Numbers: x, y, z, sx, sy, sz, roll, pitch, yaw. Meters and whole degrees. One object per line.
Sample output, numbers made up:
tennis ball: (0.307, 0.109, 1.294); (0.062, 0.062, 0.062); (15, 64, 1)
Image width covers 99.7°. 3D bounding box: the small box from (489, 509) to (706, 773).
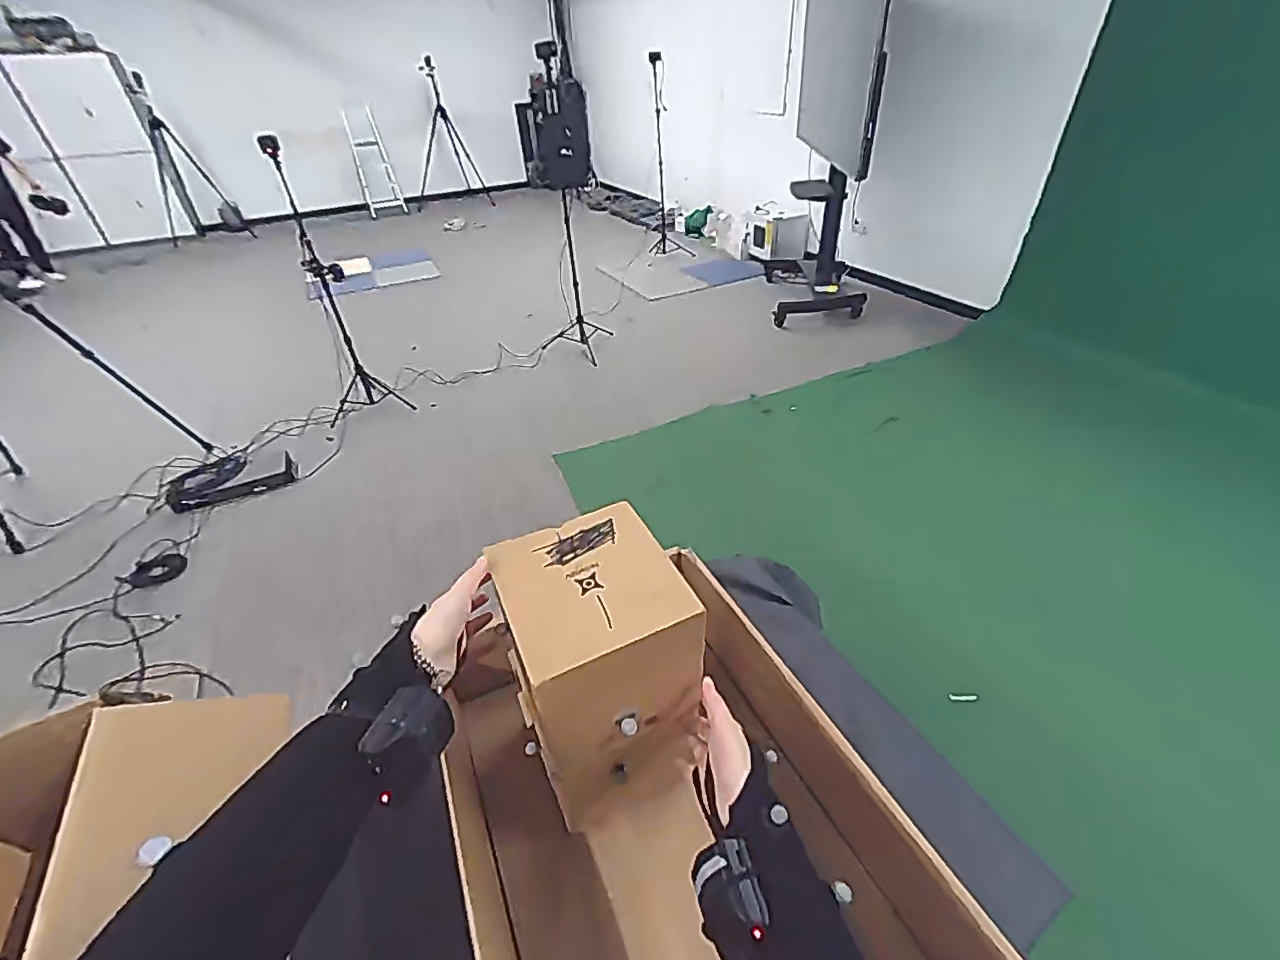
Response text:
small box: (-0.047, 0.164, 0.572); (0.168, 0.176, 0.179); (-19, 42, -19)
